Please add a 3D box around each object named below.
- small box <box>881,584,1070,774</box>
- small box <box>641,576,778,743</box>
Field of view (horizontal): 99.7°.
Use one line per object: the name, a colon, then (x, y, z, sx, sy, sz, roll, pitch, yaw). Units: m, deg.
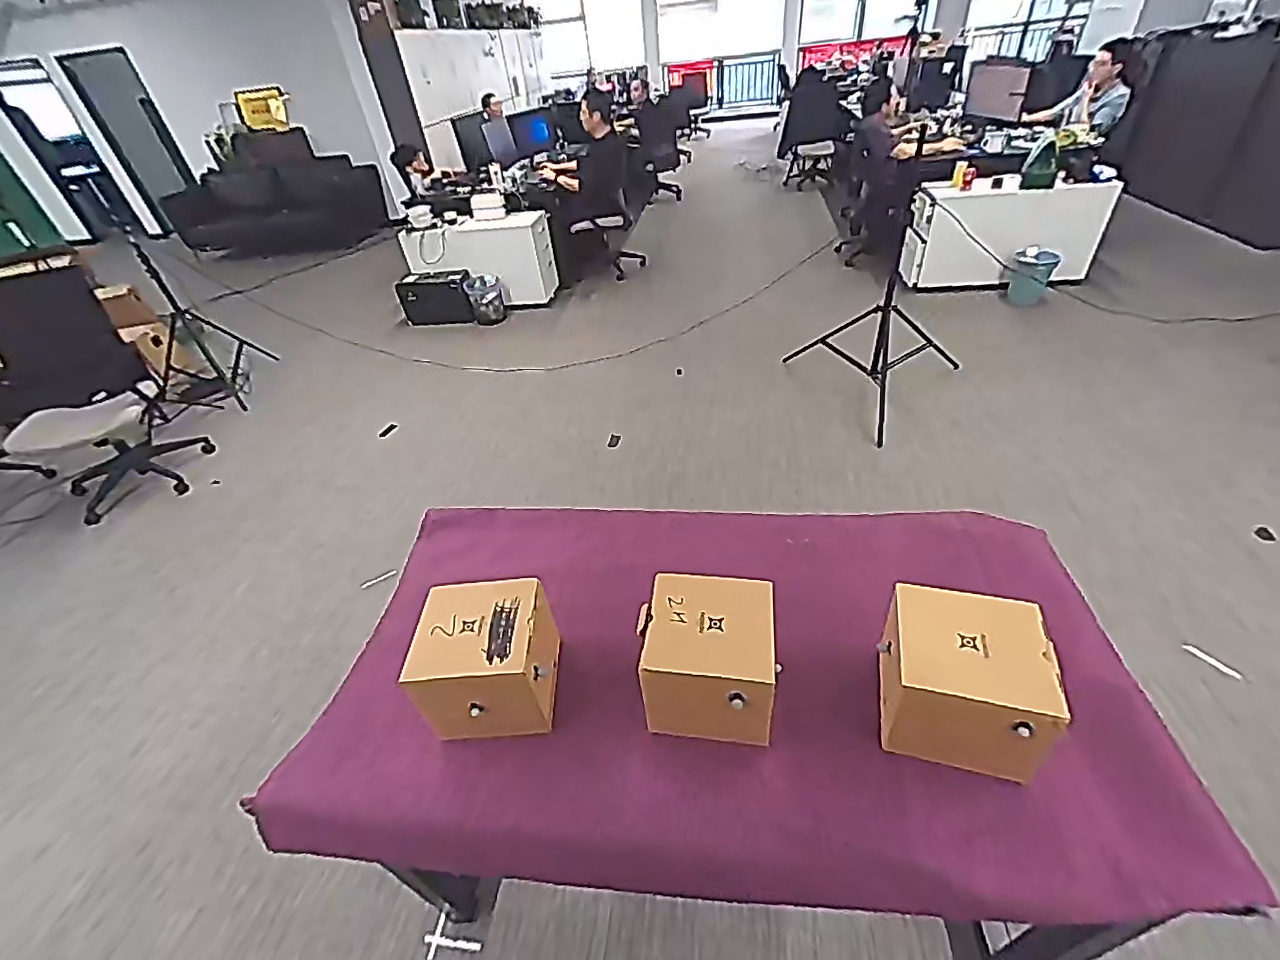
small box: (0.431, 0.268, 0.734, 0.179, 0.176, 0.168, 6, 40, 17)
small box: (0.106, 0.263, 0.795, 0.179, 0.176, 0.168, 1, 39, 11)
